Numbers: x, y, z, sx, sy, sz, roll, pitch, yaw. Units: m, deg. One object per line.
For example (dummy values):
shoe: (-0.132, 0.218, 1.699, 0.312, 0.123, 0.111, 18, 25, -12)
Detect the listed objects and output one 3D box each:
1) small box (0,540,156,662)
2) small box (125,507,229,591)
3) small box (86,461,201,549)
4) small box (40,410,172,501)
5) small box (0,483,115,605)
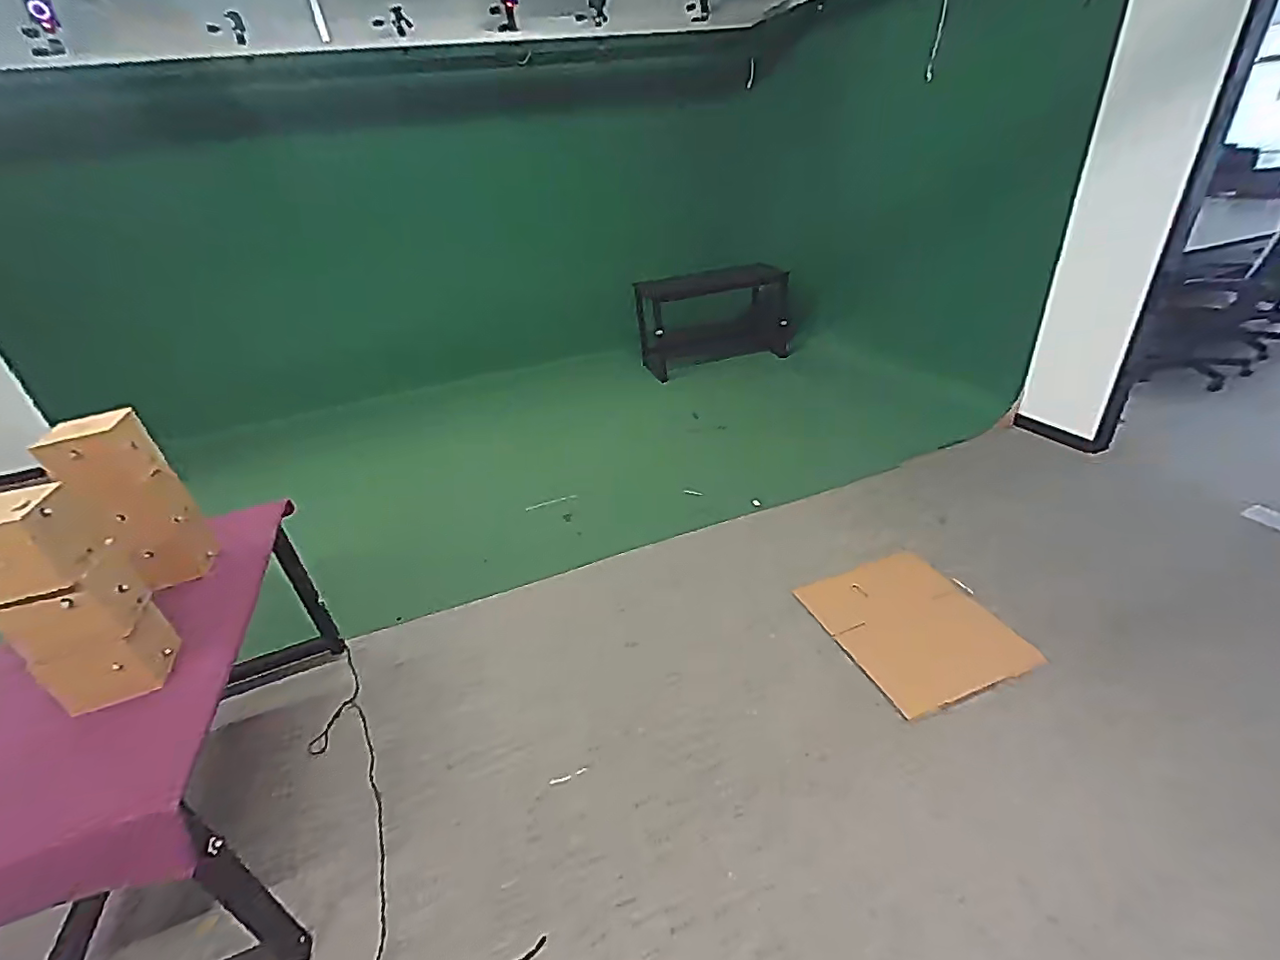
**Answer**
small box: (-1.235, 0.265, 1.198, 0.179, 0.176, 0.168, -17, 31, -17)
small box: (-1.412, 0.212, 1.650, 0.179, 0.176, 0.168, -16, 33, -13)
small box: (-1.428, 0.073, 1.565, 0.179, 0.176, 0.168, -18, 33, -13)
small box: (-1.452, -0.069, 1.489, 0.179, 0.176, 0.168, -19, 34, -14)
small box: (-1.250, 0.133, 1.100, 0.179, 0.176, 0.168, -16, 32, -14)
